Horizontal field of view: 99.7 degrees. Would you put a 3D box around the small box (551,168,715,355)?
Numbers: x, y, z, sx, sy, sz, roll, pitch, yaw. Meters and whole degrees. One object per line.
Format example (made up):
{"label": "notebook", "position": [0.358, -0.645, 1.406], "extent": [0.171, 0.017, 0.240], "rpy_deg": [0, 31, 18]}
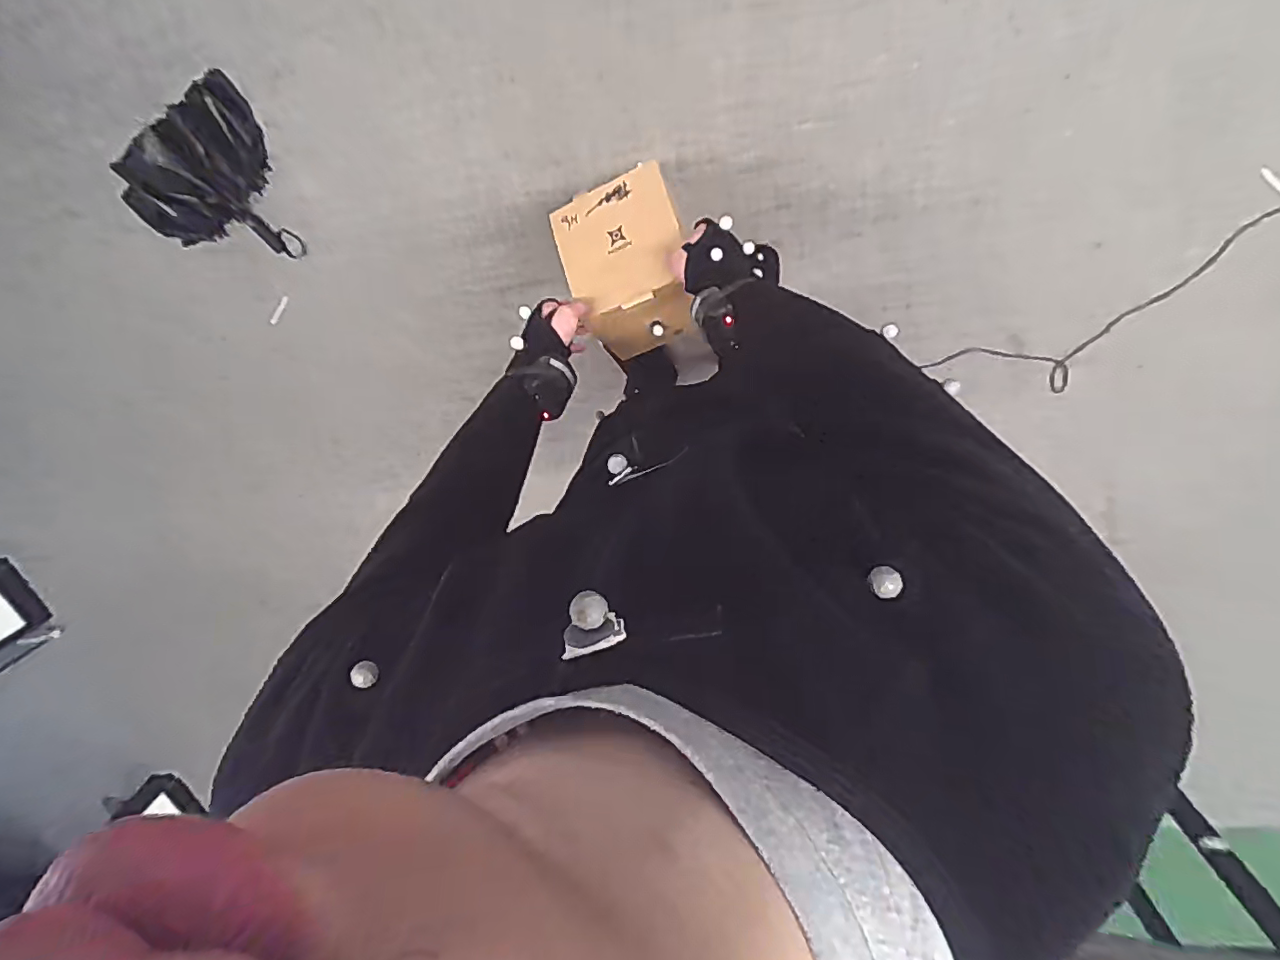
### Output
{"label": "small box", "position": [-0.001, -0.300, 0.793], "extent": [0.168, 0.176, 0.179], "rpy_deg": [-19, 80, 17]}
